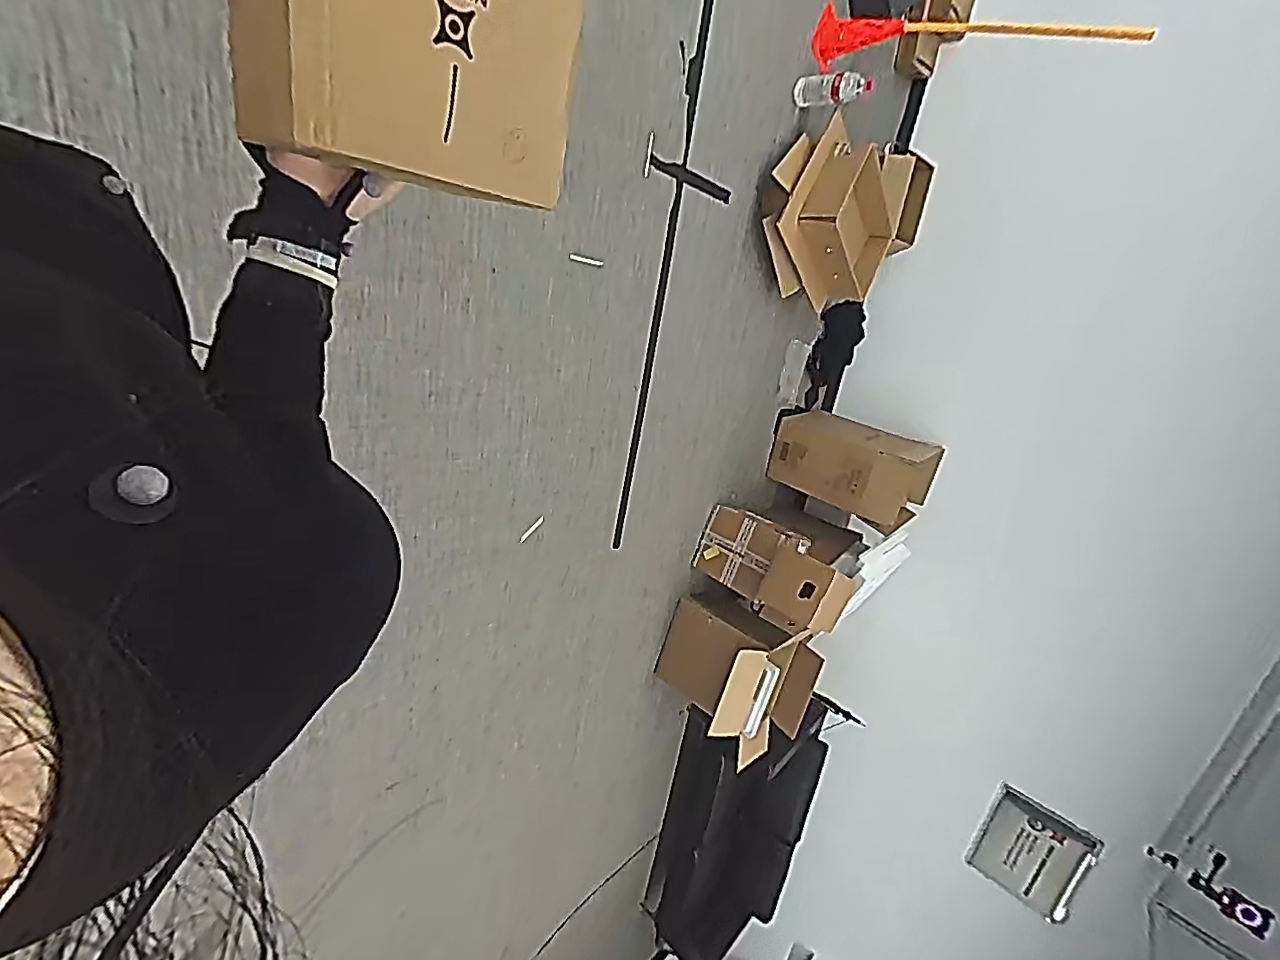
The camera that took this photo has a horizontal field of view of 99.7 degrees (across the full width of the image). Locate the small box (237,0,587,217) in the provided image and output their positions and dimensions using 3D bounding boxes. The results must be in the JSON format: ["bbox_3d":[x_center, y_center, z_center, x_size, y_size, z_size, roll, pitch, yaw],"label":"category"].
[{"bbox_3d":[-0.157,-0.296,0.361,0.168,0.176,0.179,-9,121,-43],"label":"small box"}]
